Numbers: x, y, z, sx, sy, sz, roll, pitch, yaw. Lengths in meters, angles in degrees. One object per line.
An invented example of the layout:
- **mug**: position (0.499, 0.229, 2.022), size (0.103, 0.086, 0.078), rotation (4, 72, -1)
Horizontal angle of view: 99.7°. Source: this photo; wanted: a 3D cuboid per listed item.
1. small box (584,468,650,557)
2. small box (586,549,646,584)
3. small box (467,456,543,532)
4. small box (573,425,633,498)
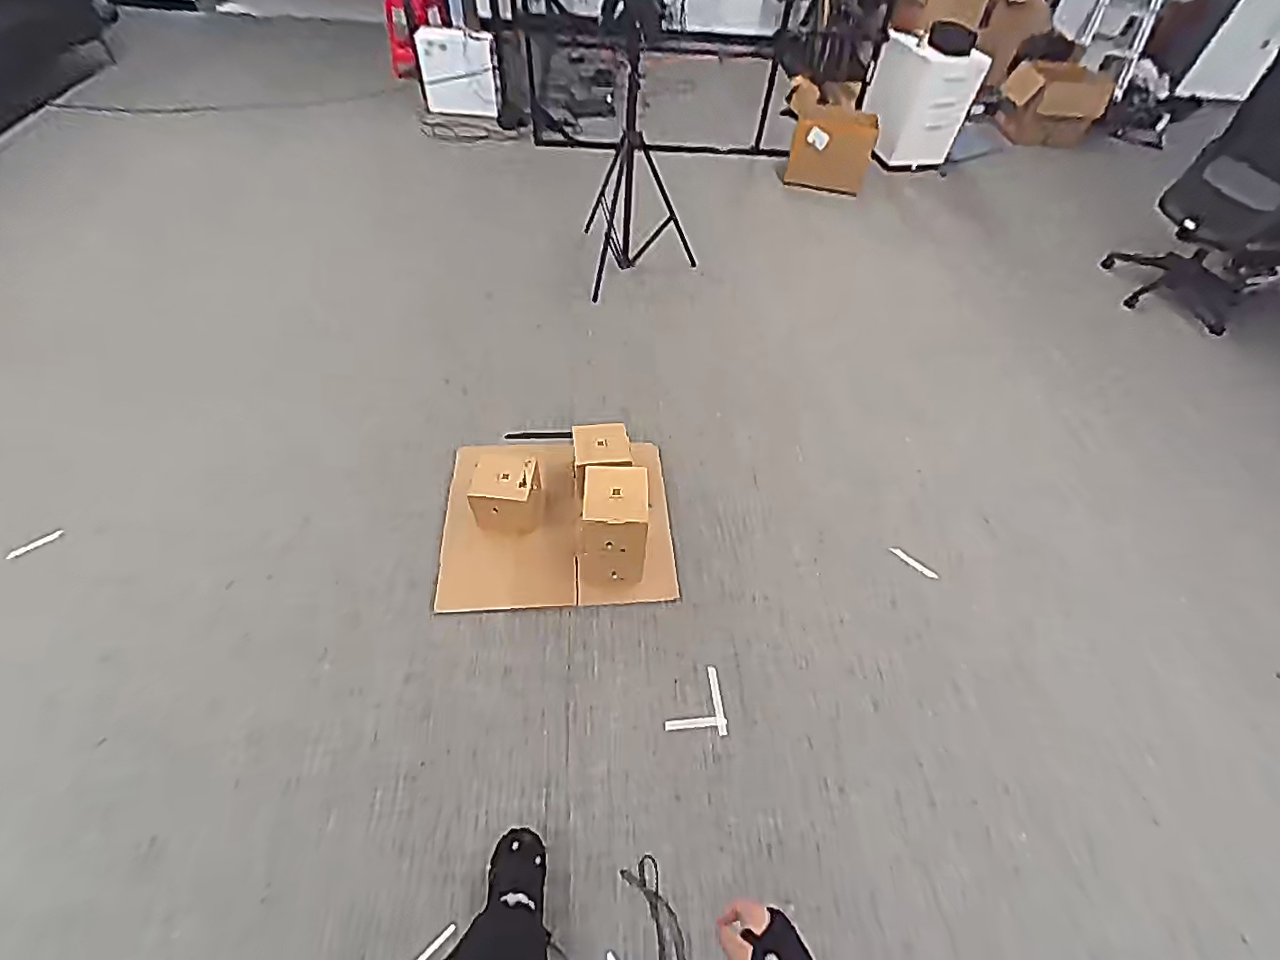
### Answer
- **small box**: position (-0.063, 0.087, 1.442), size (0.168, 0.176, 0.179), rotation (1, 54, -3)
- **small box**: position (-0.074, 0.185, 1.572), size (0.168, 0.176, 0.179), rotation (-2, 54, -5)
- **small box**: position (-0.404, 0.046, 1.652), size (0.179, 0.176, 0.168), rotation (4, 53, 1)
- **small box**: position (-0.124, -0.057, 1.756), size (0.179, 0.176, 0.168), rotation (-6, 52, -9)
